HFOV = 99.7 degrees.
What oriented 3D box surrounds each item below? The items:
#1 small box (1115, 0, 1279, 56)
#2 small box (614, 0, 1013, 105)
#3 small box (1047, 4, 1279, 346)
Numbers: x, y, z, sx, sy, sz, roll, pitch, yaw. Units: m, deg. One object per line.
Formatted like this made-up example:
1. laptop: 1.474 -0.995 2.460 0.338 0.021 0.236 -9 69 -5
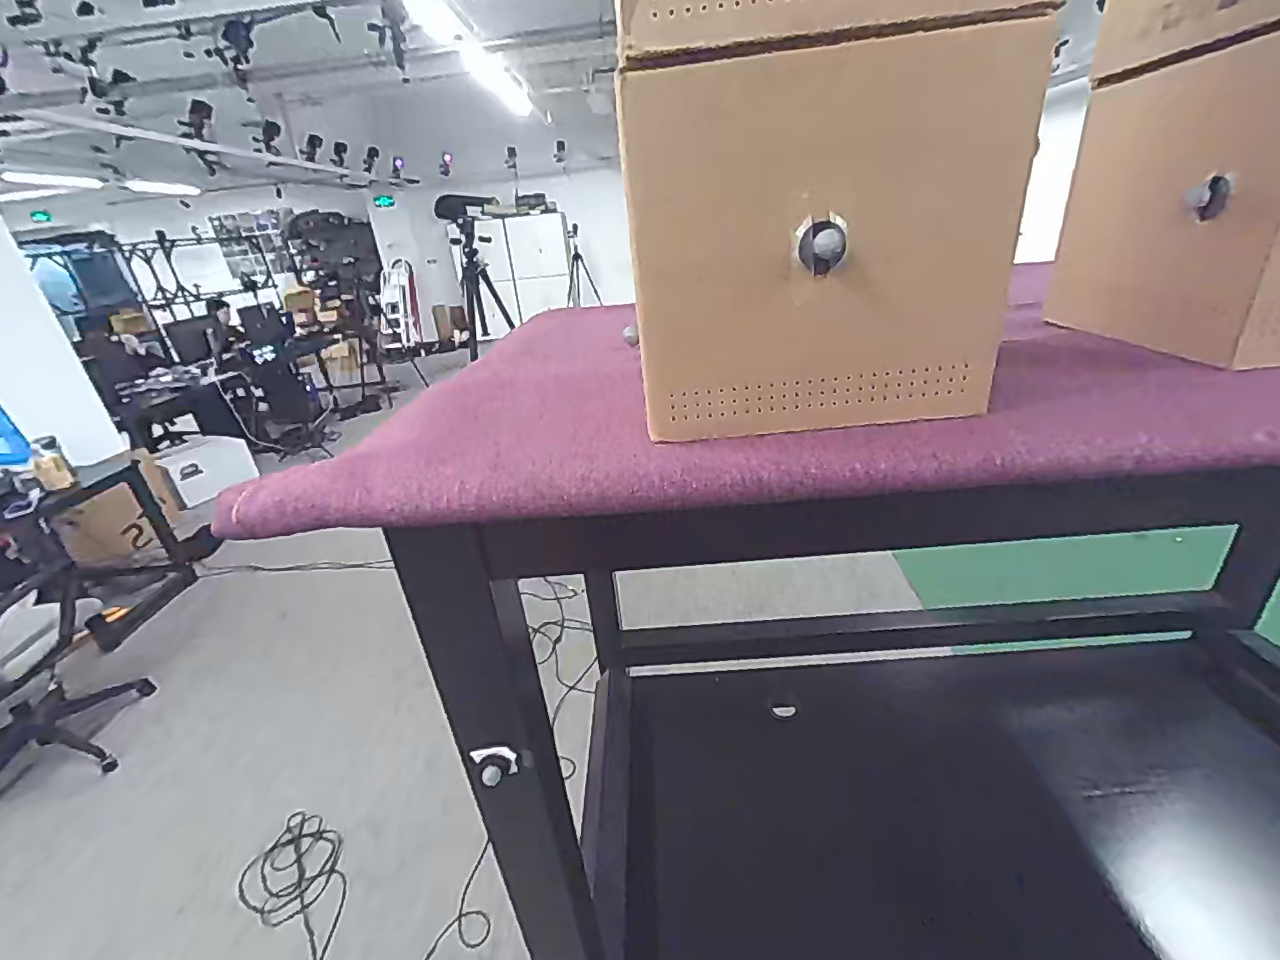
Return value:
1. small box: 0.384 -0.329 0.262 0.179 0.176 0.168 -3 26 4
2. small box: 0.067 -0.286 0.242 0.179 0.176 0.168 -7 26 2
3. small box: 0.400 -0.180 0.331 0.168 0.176 0.179 -3 25 4
